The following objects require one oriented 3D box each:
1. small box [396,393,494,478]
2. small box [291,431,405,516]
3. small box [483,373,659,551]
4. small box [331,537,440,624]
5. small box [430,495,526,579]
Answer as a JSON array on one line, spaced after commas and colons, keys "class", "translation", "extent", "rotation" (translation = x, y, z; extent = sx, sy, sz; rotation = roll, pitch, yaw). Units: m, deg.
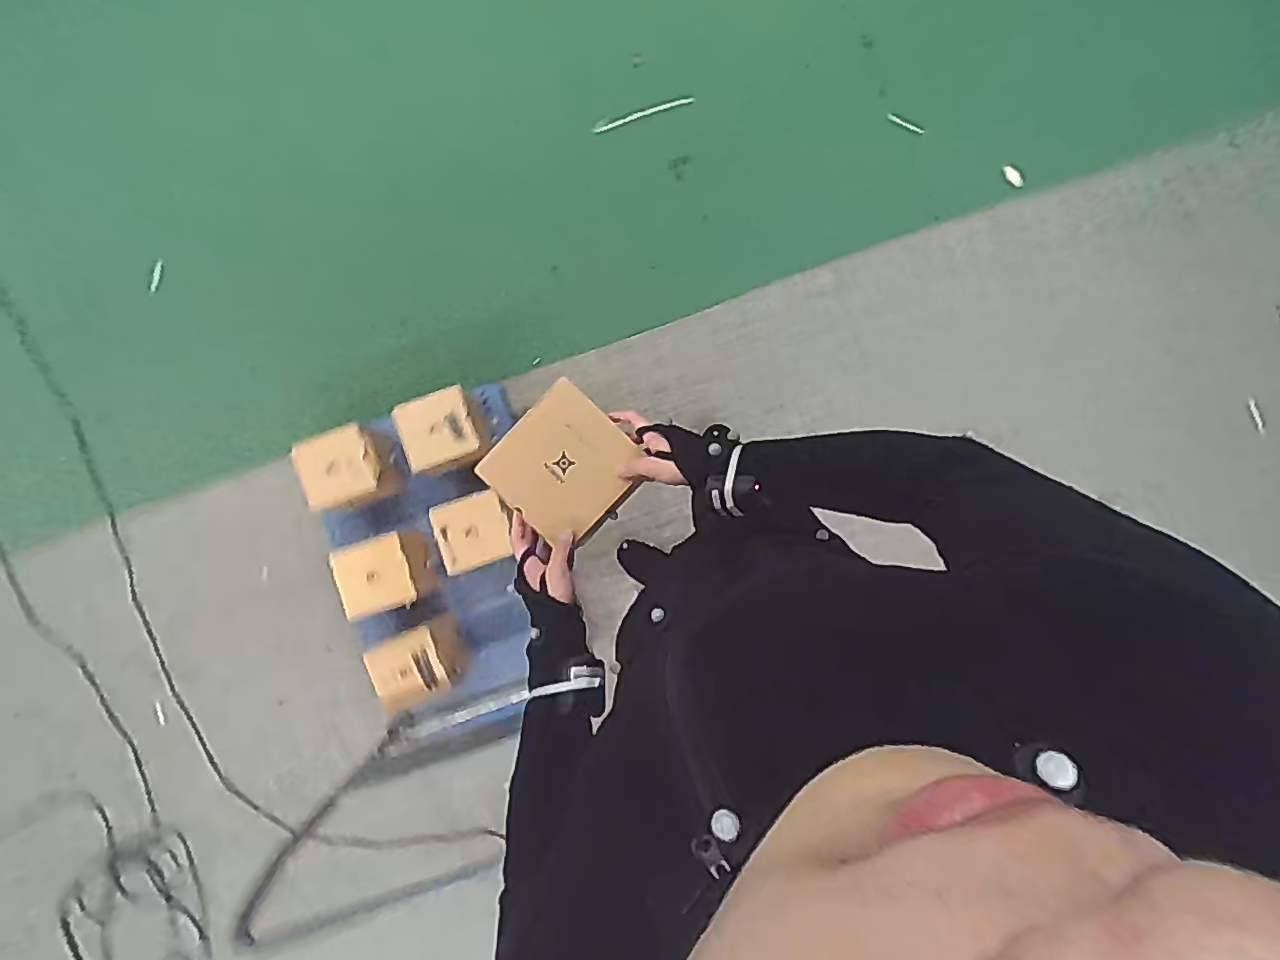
[{"class": "small box", "translation": [-0.497, -0.110, 1.413], "extent": [0.179, 0.176, 0.168], "rotation": [-21, 87, 0]}, {"class": "small box", "translation": [-0.743, -0.011, 1.393], "extent": [0.179, 0.176, 0.168], "rotation": [-20, 88, -1]}, {"class": "small box", "translation": [-0.084, -0.021, 0.778], "extent": [0.179, 0.176, 0.168], "rotation": [-44, 86, 2]}, {"class": "small box", "translation": [-0.643, 0.251, 1.383], "extent": [0.179, 0.176, 0.168], "rotation": [-19, 87, -2]}, {"class": "small box", "translation": [-0.402, 0.140, 1.384], "extent": [0.179, 0.176, 0.168], "rotation": [-19, 87, -1]}]
